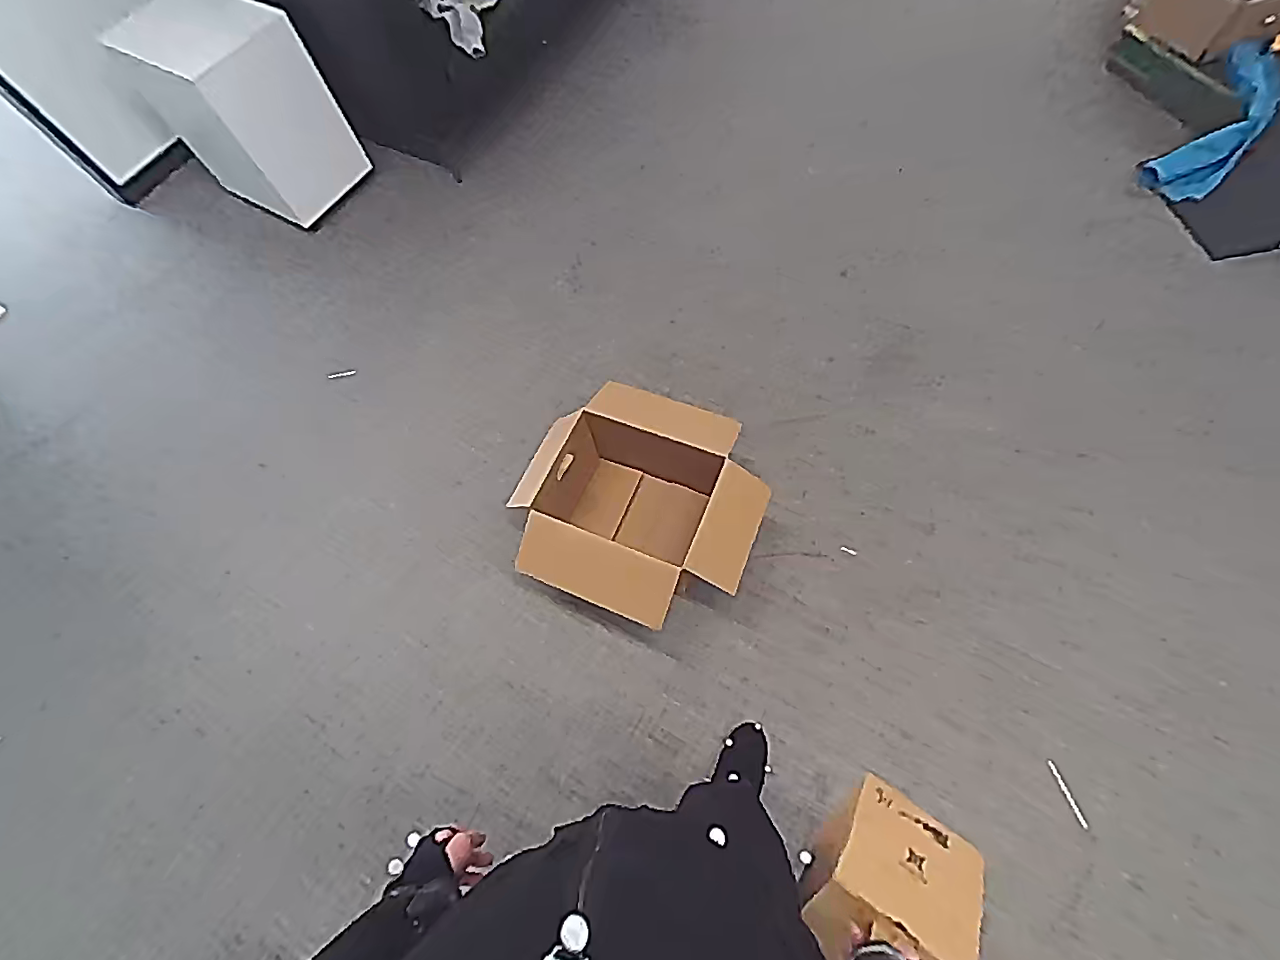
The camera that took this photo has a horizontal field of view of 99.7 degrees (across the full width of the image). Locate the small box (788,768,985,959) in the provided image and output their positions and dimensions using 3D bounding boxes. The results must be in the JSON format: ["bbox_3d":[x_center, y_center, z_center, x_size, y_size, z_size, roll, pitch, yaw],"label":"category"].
[{"bbox_3d":[0.318,0.540,0.714,0.168,0.176,0.179,32,33,23],"label":"small box"}]
